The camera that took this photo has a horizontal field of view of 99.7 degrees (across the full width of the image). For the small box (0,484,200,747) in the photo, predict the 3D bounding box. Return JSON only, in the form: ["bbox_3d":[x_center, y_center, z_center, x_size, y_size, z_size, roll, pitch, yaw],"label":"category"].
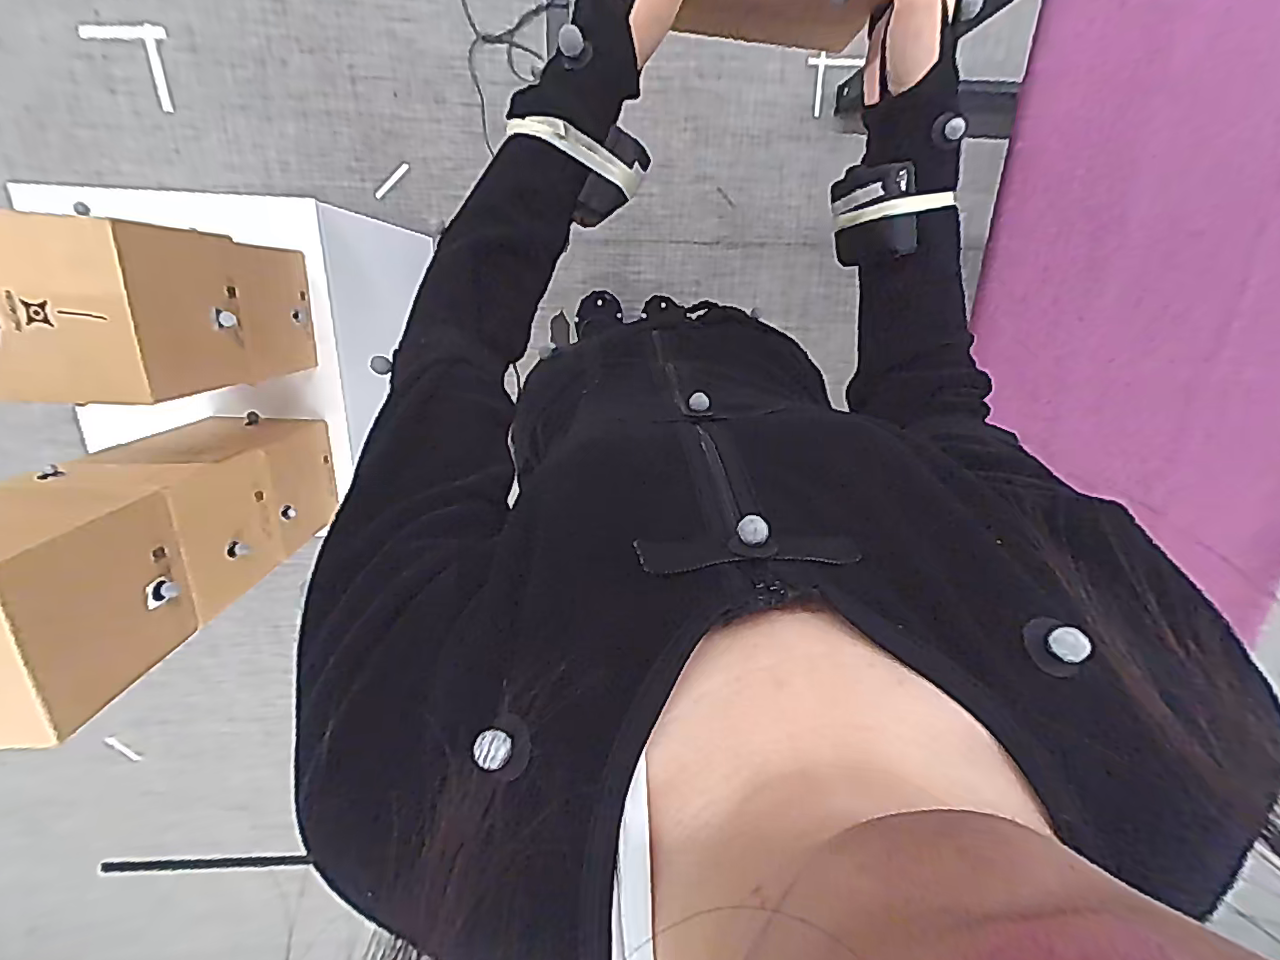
[{"bbox_3d":[-0.552,0.108,0.478,0.179,0.176,0.168,-1,110,-4],"label":"small box"}]

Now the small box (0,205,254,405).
[{"bbox_3d":[-0.542,-0.177,0.550,0.179,0.176,0.168,2,109,-6],"label":"small box"}]

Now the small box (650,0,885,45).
[{"bbox_3d":[0.103,-0.428,0.363,0.179,0.176,0.168,6,110,-3],"label":"small box"}]

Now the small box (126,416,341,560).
[{"bbox_3d":[-0.572,0.004,0.786,0.179,0.176,0.168,2,108,-3],"label":"small box"}]

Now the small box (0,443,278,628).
[{"bbox_3d":[-0.560,0.056,0.632,0.179,0.176,0.168,0,109,-3],"label":"small box"}]
